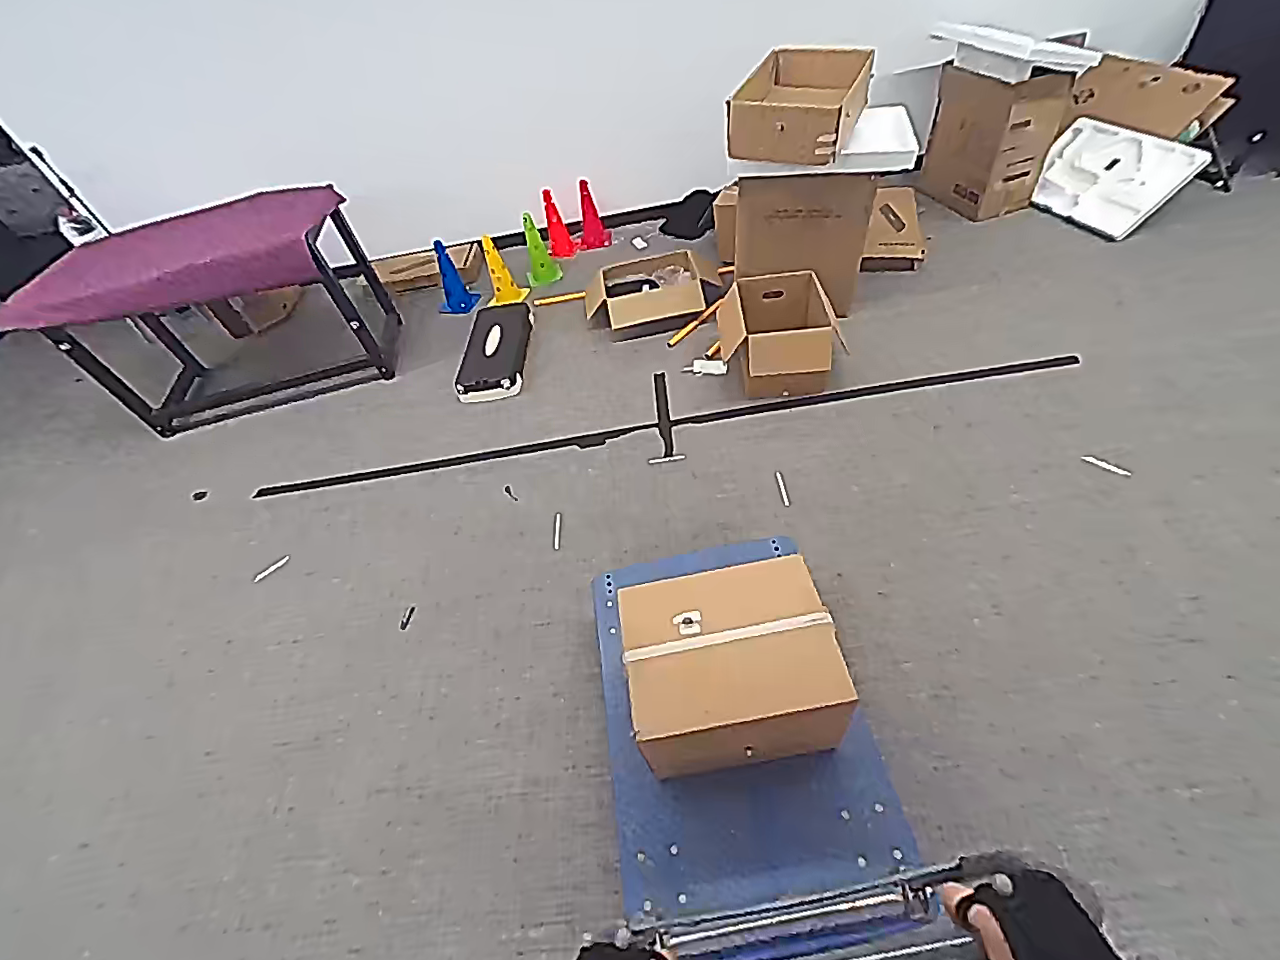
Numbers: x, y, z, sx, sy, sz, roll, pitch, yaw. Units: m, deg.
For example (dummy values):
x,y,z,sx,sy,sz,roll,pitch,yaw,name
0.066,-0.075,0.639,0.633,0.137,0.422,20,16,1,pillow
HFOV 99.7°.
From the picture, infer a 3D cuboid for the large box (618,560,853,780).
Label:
x,y,z,sx,sy,sz,roll,pitch,yaw,name
0.193,0.420,1.178,0.408,0.320,0.320,-12,48,2,large box
